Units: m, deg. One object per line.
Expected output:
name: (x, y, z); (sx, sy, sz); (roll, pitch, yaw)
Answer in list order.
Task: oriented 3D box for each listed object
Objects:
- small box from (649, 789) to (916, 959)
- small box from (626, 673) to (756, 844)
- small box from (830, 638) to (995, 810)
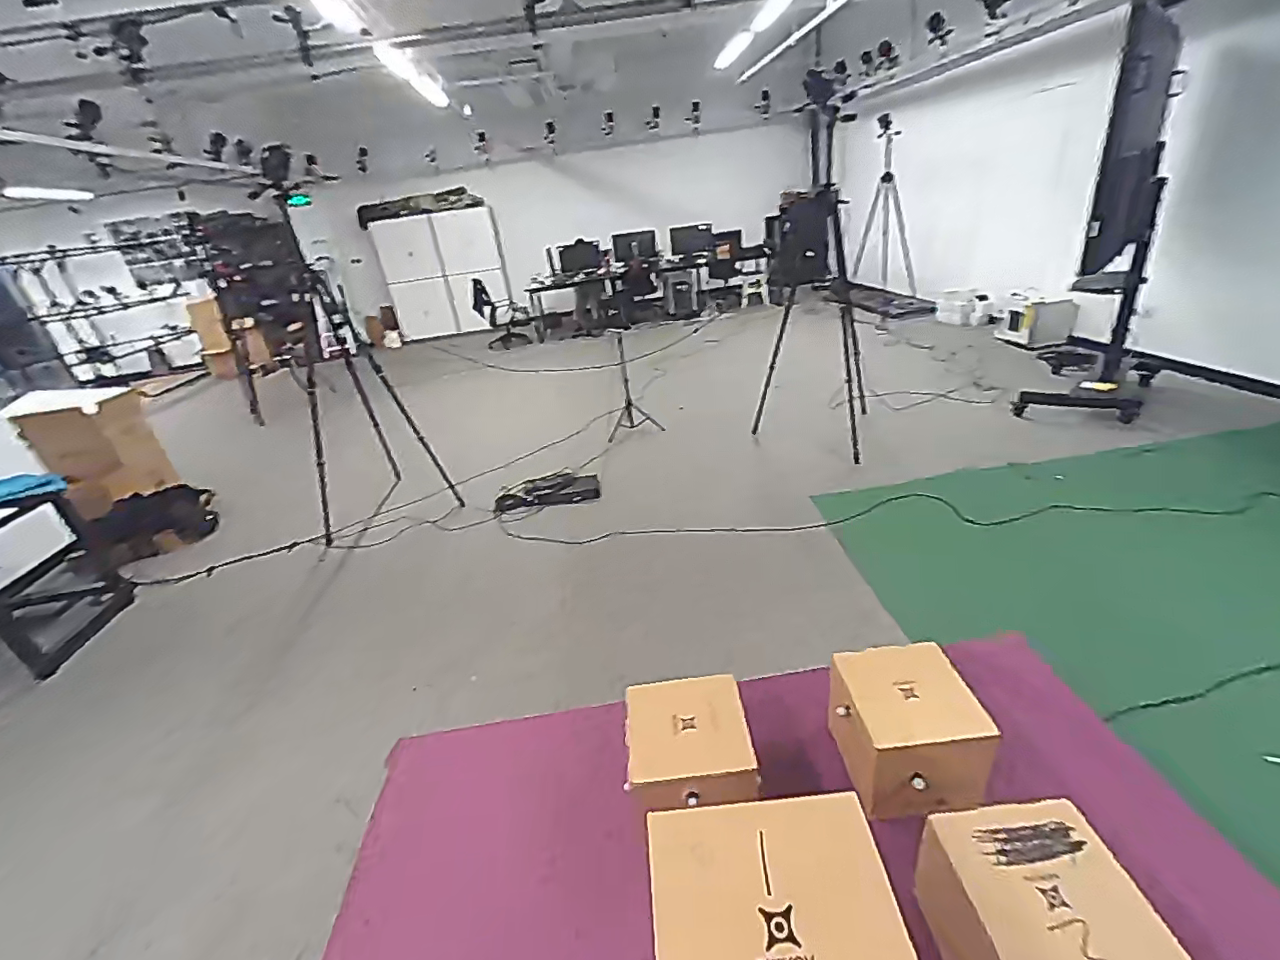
small box: (0.099, 0.361, 0.396); (0.168, 0.176, 0.179); (-6, 35, 1)
small box: (0.077, 0.427, 0.828); (0.179, 0.176, 0.168); (-7, 28, 2)
small box: (0.402, 0.374, 0.827); (0.168, 0.176, 0.179); (-9, 27, 2)
